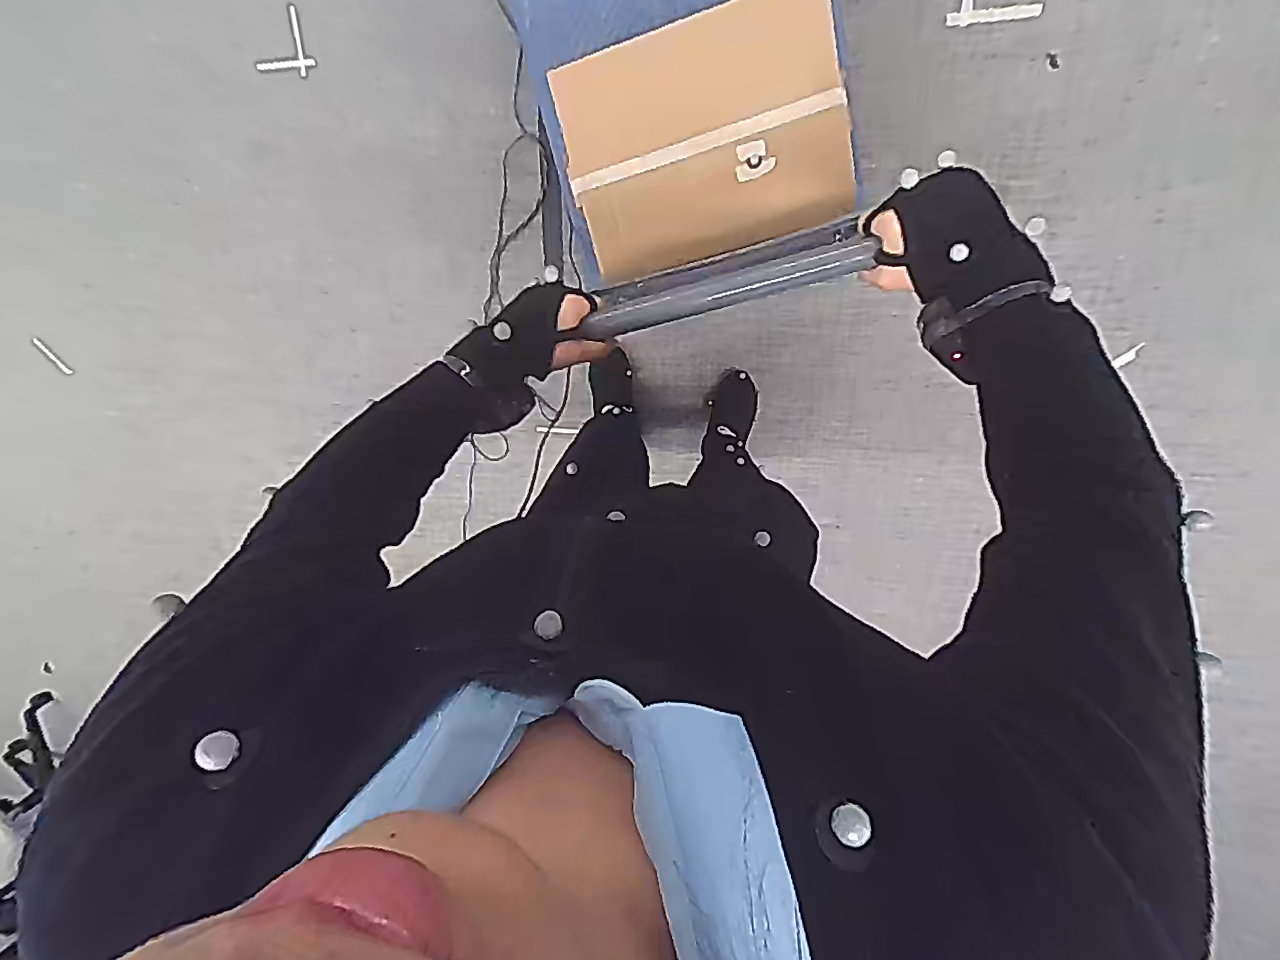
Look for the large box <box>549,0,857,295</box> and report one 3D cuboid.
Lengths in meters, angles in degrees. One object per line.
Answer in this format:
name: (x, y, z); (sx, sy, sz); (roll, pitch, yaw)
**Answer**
large box: (0.109, -0.529, 0.932); (0.408, 0.320, 0.320); (-12, 108, 11)
